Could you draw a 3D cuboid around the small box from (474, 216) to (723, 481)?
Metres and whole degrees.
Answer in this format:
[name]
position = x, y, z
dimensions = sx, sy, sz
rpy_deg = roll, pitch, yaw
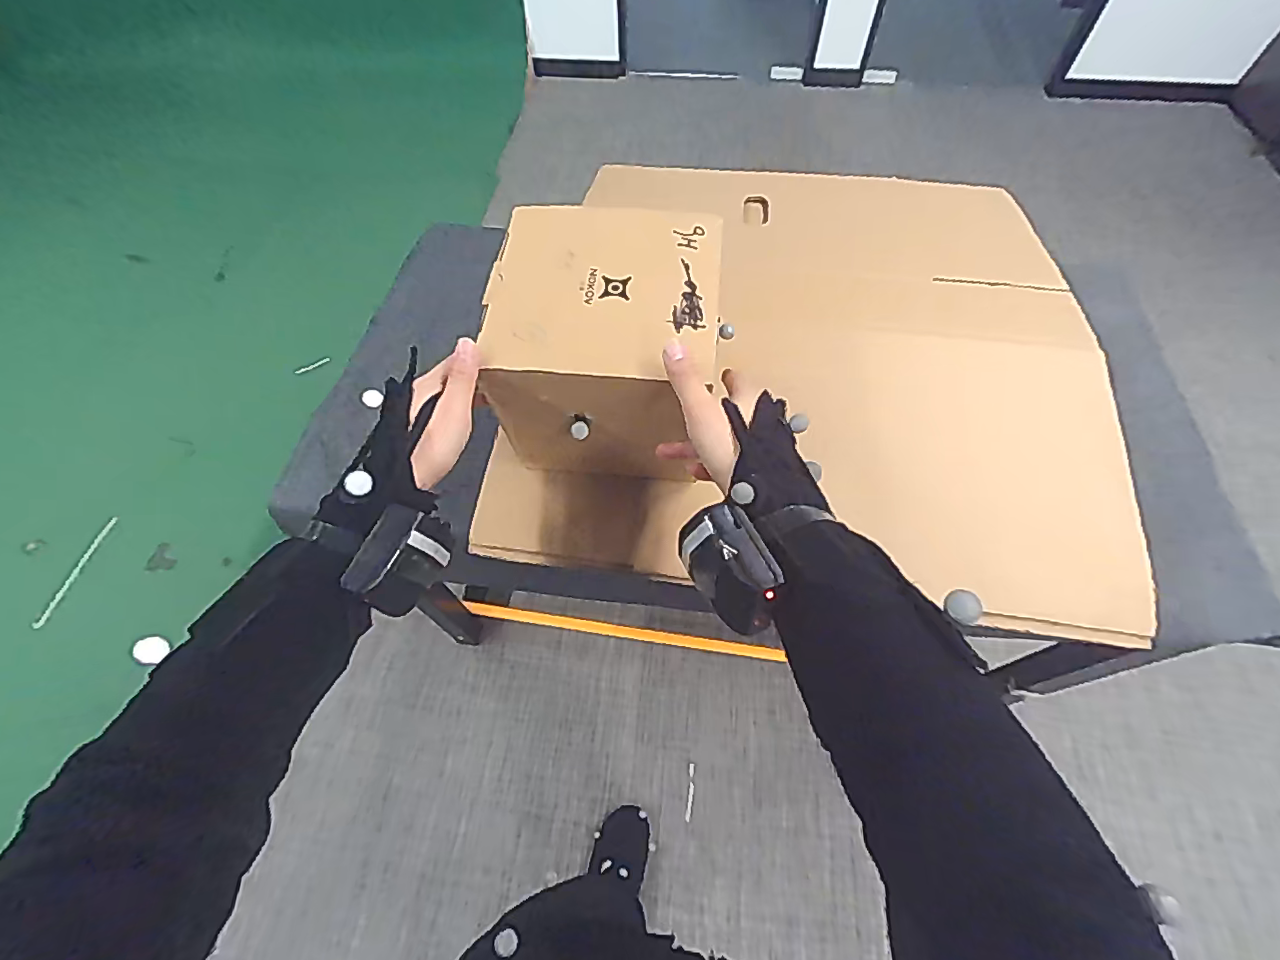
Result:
[small box]
position = -0.023, -0.109, 0.489
dimensions = 0.179, 0.176, 0.168
rpy_deg = 5, 66, 5
